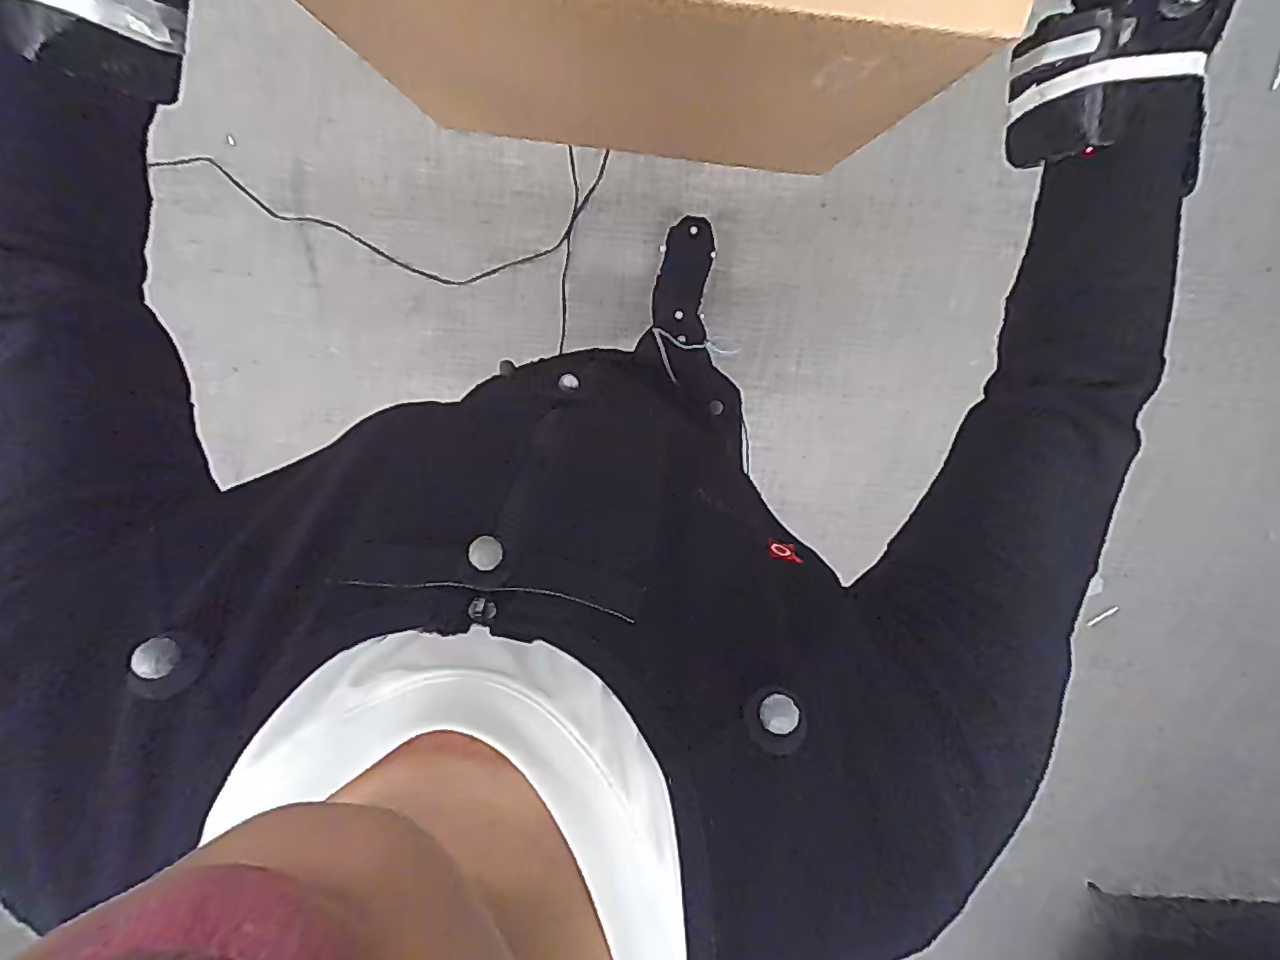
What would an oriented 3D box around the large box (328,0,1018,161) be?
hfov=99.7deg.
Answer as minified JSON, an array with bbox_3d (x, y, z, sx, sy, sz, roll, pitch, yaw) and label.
[{"bbox_3d":[0.013,-0.448,0.377,0.408,0.320,0.320,5,109,-2],"label":"large box"}]
